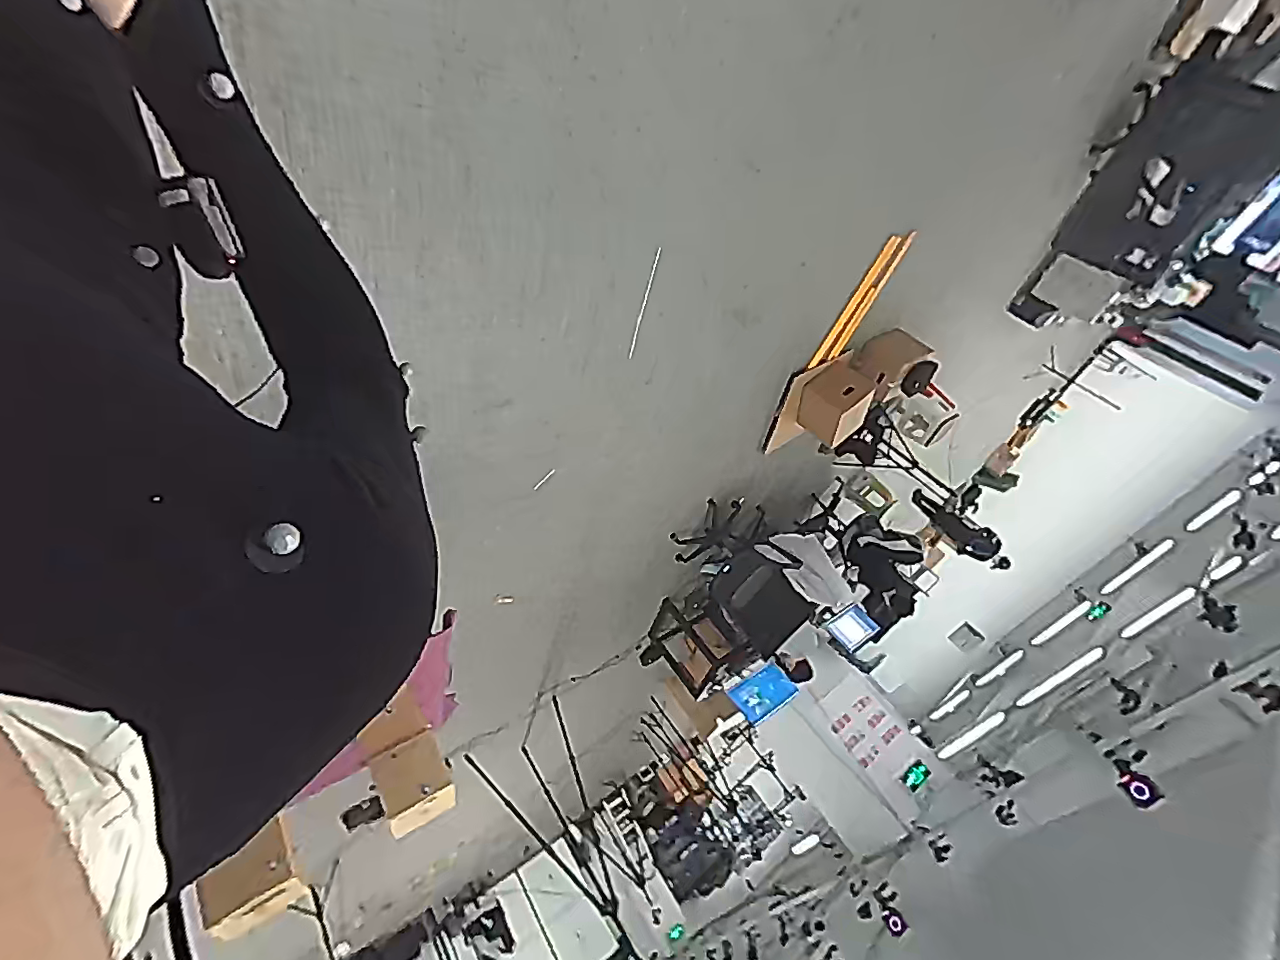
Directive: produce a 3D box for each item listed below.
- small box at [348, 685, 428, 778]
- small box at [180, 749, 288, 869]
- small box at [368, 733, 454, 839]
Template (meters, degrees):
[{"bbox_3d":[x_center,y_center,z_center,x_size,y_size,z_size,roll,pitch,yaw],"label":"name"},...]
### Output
[{"bbox_3d":[-0.715,0.725,1.550,0.168,0.176,0.179,-21,143,-32],"label":"small box"},{"bbox_3d":[-0.989,0.796,1.321,0.168,0.176,0.179,-19,143,-35],"label":"small box"},{"bbox_3d":[-0.616,0.820,1.460,0.168,0.176,0.179,-19,143,-34],"label":"small box"}]
